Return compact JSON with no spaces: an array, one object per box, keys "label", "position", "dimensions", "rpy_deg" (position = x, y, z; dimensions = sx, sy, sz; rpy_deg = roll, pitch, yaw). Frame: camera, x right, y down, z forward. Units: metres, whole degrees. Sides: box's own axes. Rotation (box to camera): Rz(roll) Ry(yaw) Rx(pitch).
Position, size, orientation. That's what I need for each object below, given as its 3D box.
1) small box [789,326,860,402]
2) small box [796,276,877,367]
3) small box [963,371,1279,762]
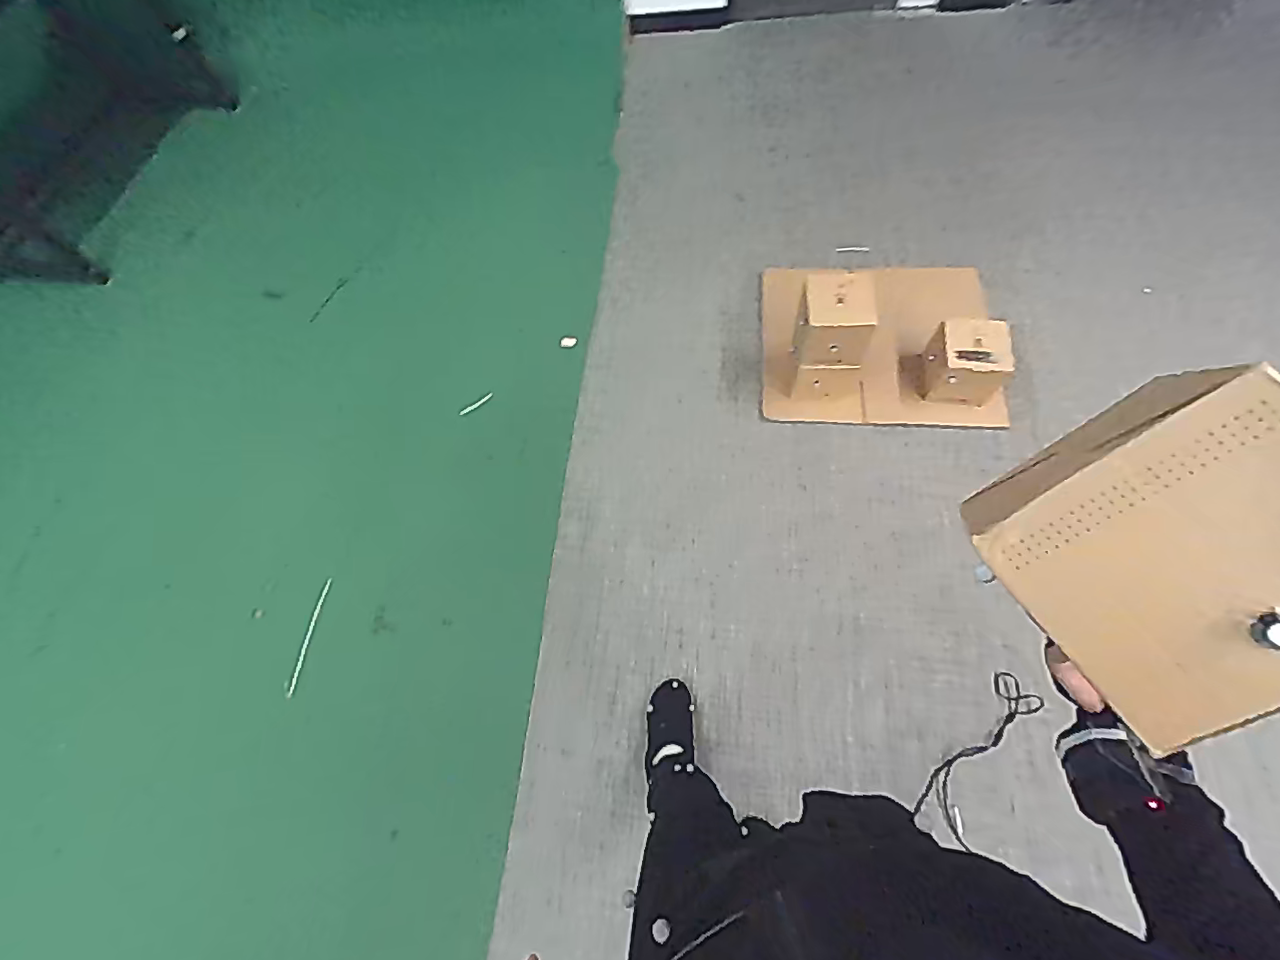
[{"label":"small box","position":[0.537,-0.342,1.594],"dimensions":[0.168,0.176,0.179],"rpy_deg":[1,64,6]},{"label":"small box","position":[0.519,-0.418,1.449],"dimensions":[0.168,0.176,0.179],"rpy_deg":[1,64,6]},{"label":"small box","position":[0.364,0.044,0.372],"dimensions":[0.179,0.168,0.176],"rpy_deg":[-42,76,26]}]
